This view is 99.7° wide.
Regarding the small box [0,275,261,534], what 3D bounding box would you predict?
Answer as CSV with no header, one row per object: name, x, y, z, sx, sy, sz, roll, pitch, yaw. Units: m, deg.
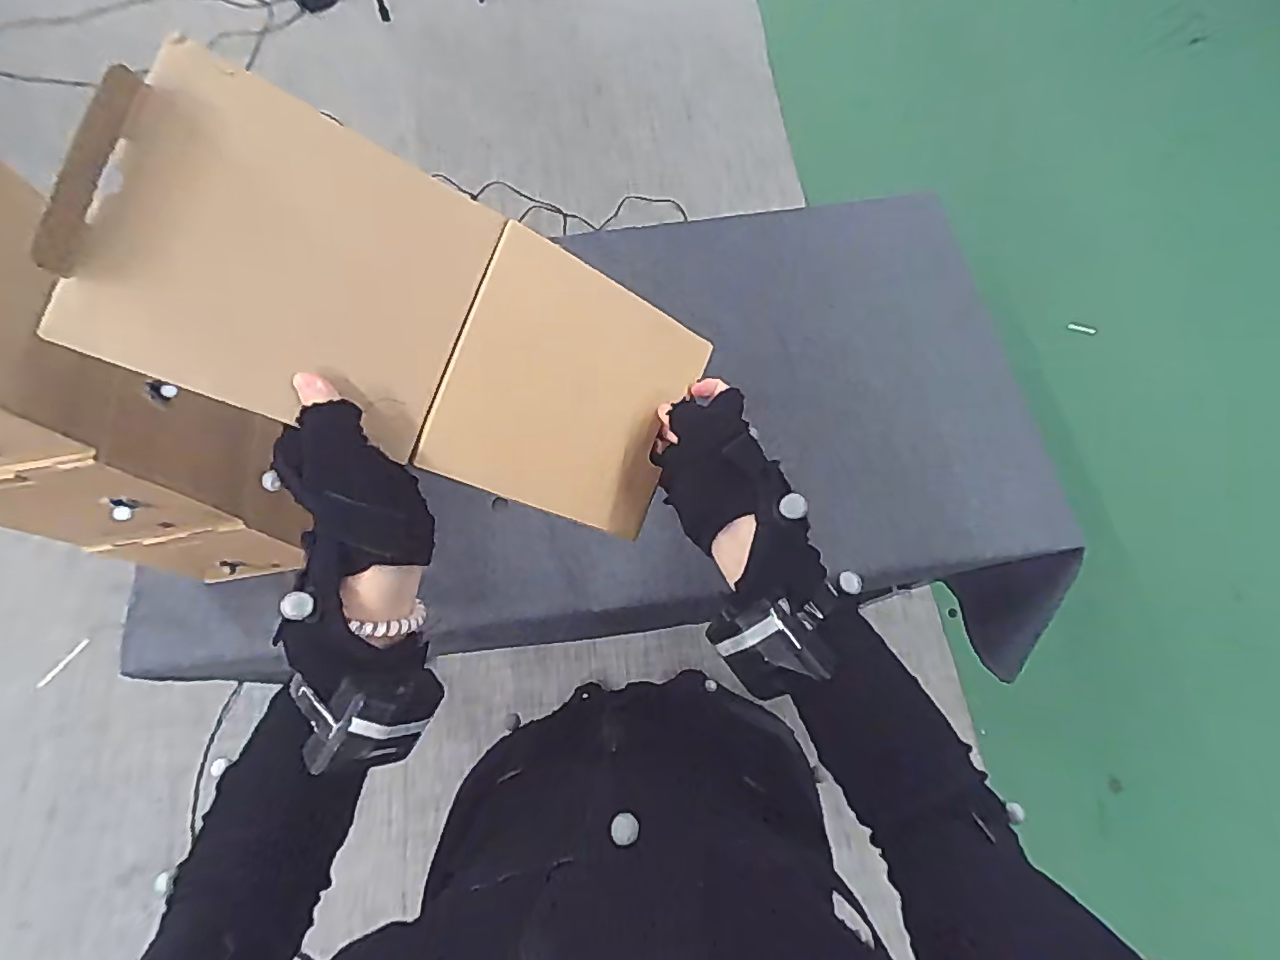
small box,-0.490,-0.055,0.501,0.168,0.176,0.179,-8,69,-3

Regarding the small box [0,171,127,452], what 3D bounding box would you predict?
small box,-0.494,-0.120,0.350,0.168,0.176,0.179,-9,69,-4

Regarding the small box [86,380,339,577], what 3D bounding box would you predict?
small box,-0.489,0.006,0.652,0.168,0.176,0.179,-9,70,-2
